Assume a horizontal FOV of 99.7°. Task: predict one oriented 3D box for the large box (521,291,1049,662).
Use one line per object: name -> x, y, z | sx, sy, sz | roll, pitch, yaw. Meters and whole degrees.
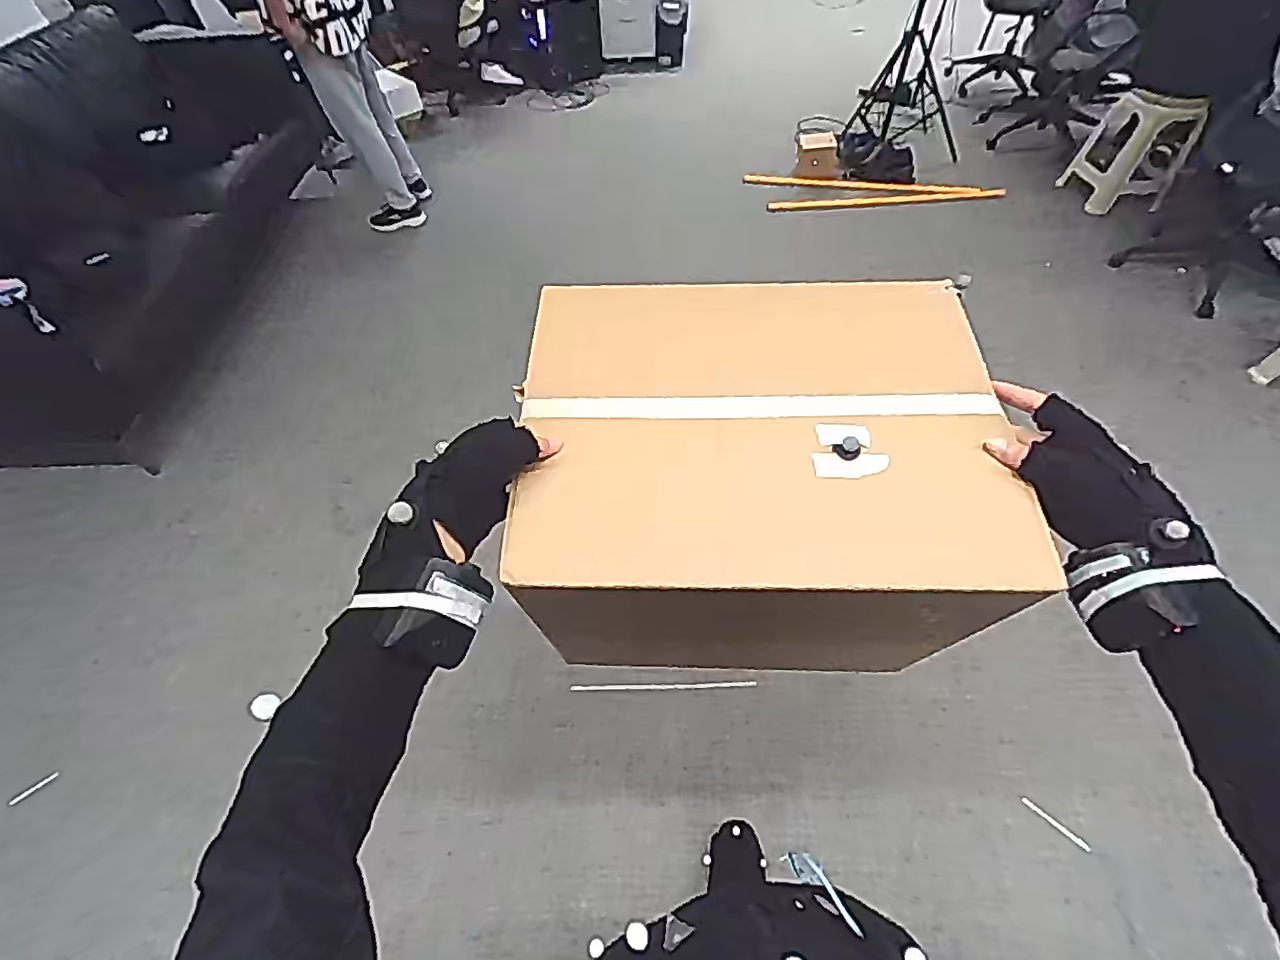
large box -> 0.109, 0.014, 0.605 | 0.408, 0.320, 0.320 | 1, 61, 1
